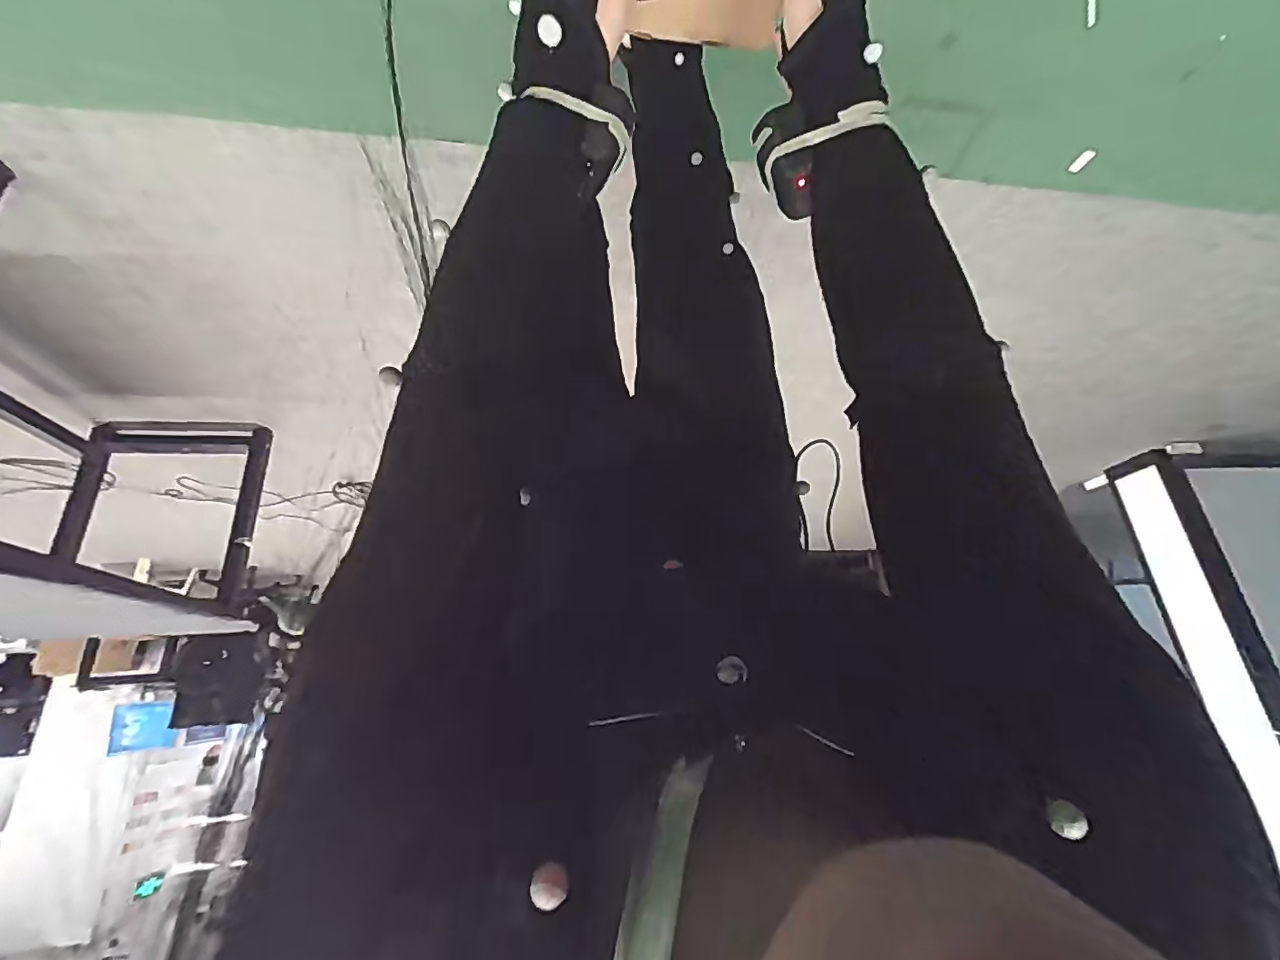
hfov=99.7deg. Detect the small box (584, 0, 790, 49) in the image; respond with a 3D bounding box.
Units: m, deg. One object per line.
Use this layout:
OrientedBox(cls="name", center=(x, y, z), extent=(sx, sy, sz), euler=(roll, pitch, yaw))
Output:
OrientedBox(cls="small box", center=(0.043, -0.478, 0.402), extent=(0.168, 0.176, 0.179), euler=(0, 158, -10))
